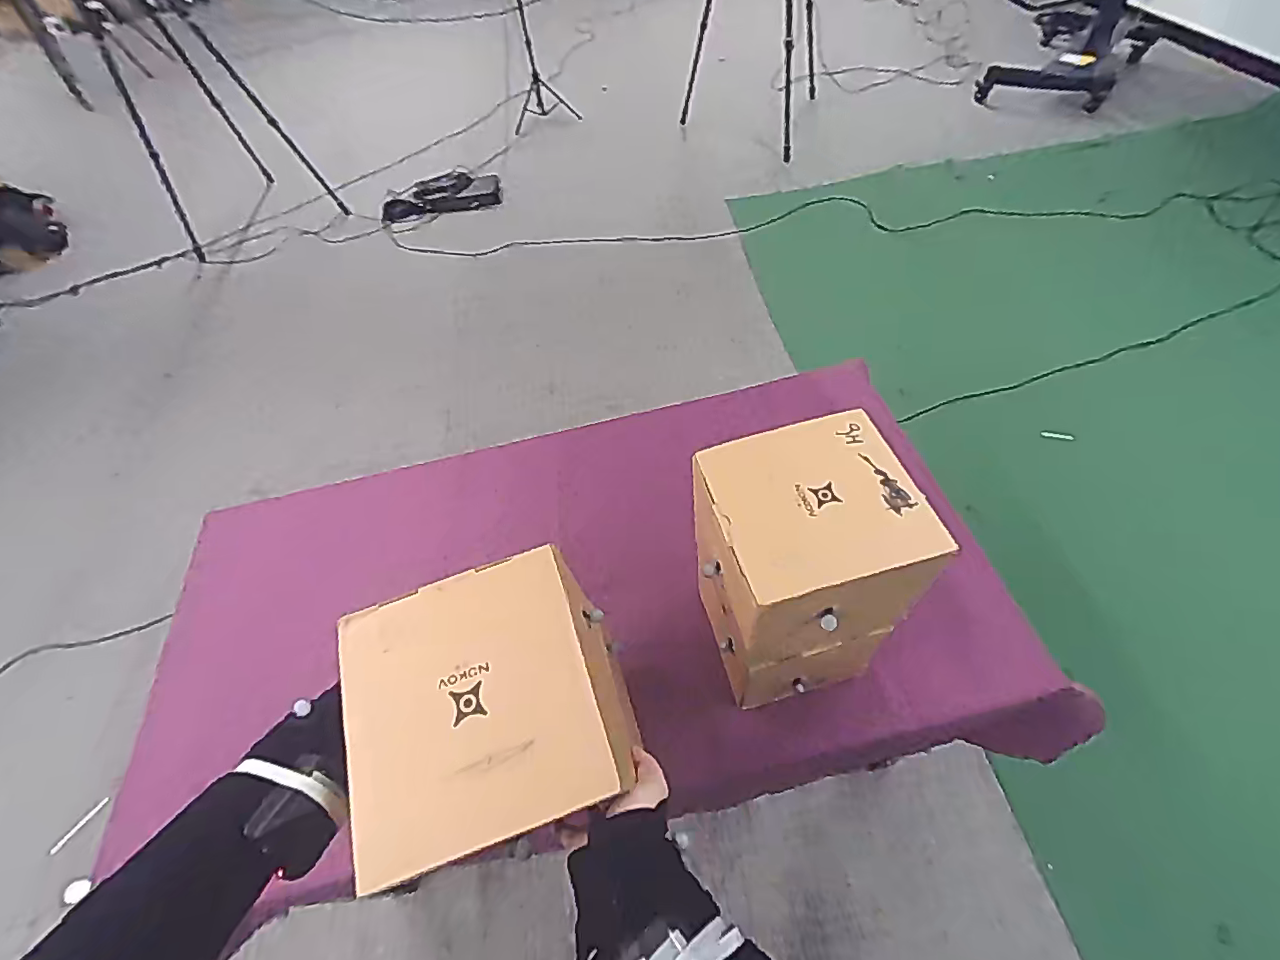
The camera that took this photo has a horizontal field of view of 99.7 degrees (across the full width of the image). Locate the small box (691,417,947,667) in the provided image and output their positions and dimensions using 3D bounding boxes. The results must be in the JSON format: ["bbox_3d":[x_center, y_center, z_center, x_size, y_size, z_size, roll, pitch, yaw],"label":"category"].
[{"bbox_3d":[0.161,0.069,0.547,0.179,0.176,0.168,-15,54,-3],"label":"small box"}]

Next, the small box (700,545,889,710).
[{"bbox_3d":[0.175,0.163,0.680,0.168,0.176,0.179,-14,53,-3],"label":"small box"}]

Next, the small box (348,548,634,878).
[{"bbox_3d":[-0.111,0.185,0.441,0.168,0.176,0.179,-18,62,-5],"label":"small box"}]
